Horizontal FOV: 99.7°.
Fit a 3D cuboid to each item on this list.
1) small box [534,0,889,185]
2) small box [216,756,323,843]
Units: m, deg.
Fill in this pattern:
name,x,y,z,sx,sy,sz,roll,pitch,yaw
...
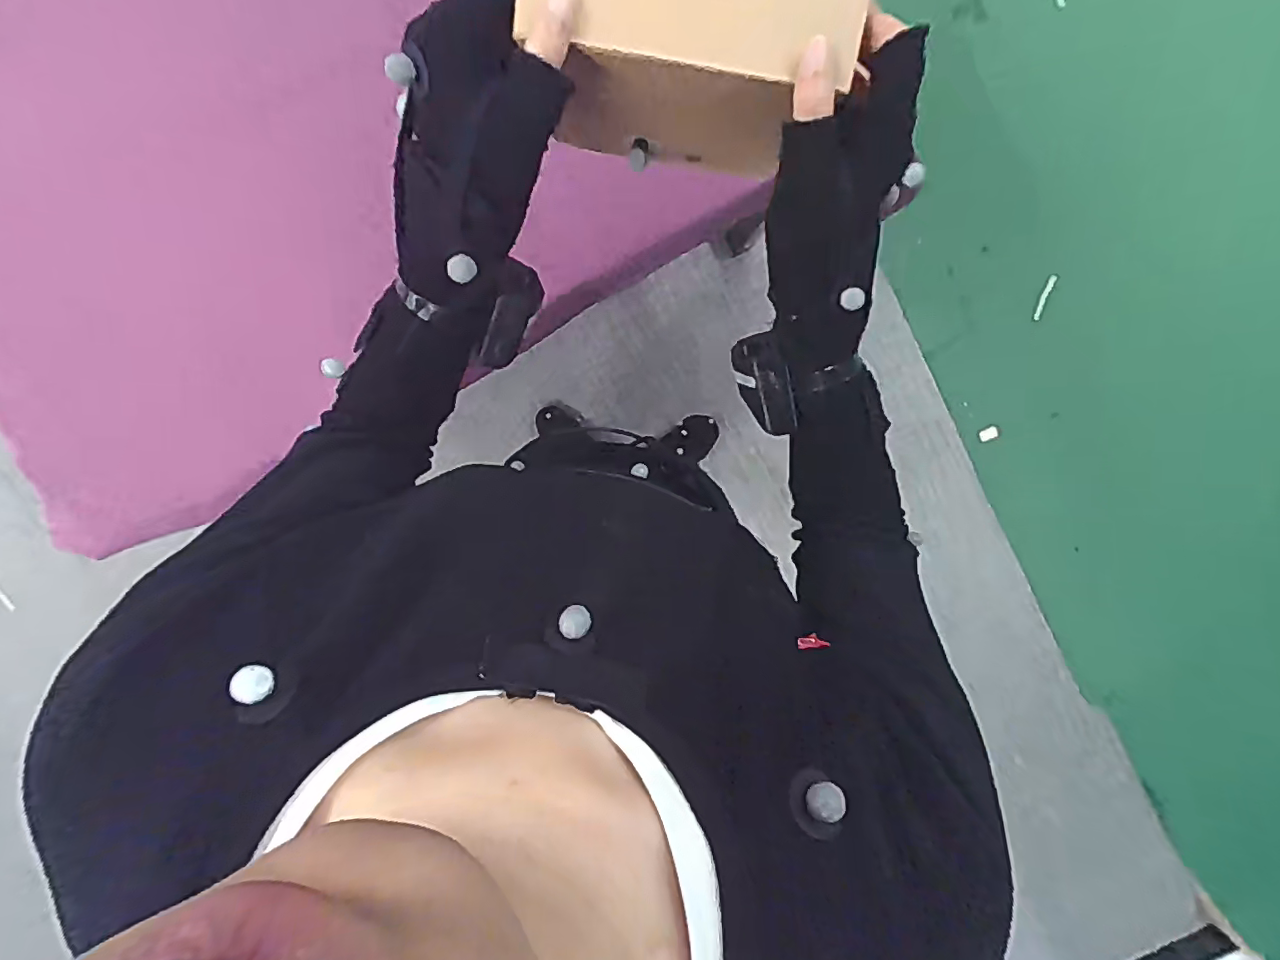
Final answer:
name,x,y,z,sx,sy,sz,roll,pitch,yaw
small box,0.039,-0.299,0.313,0.168,0.176,0.179,7,106,-4
small box,-1.060,0.938,1.542,0.179,0.176,0.168,-32,99,5
